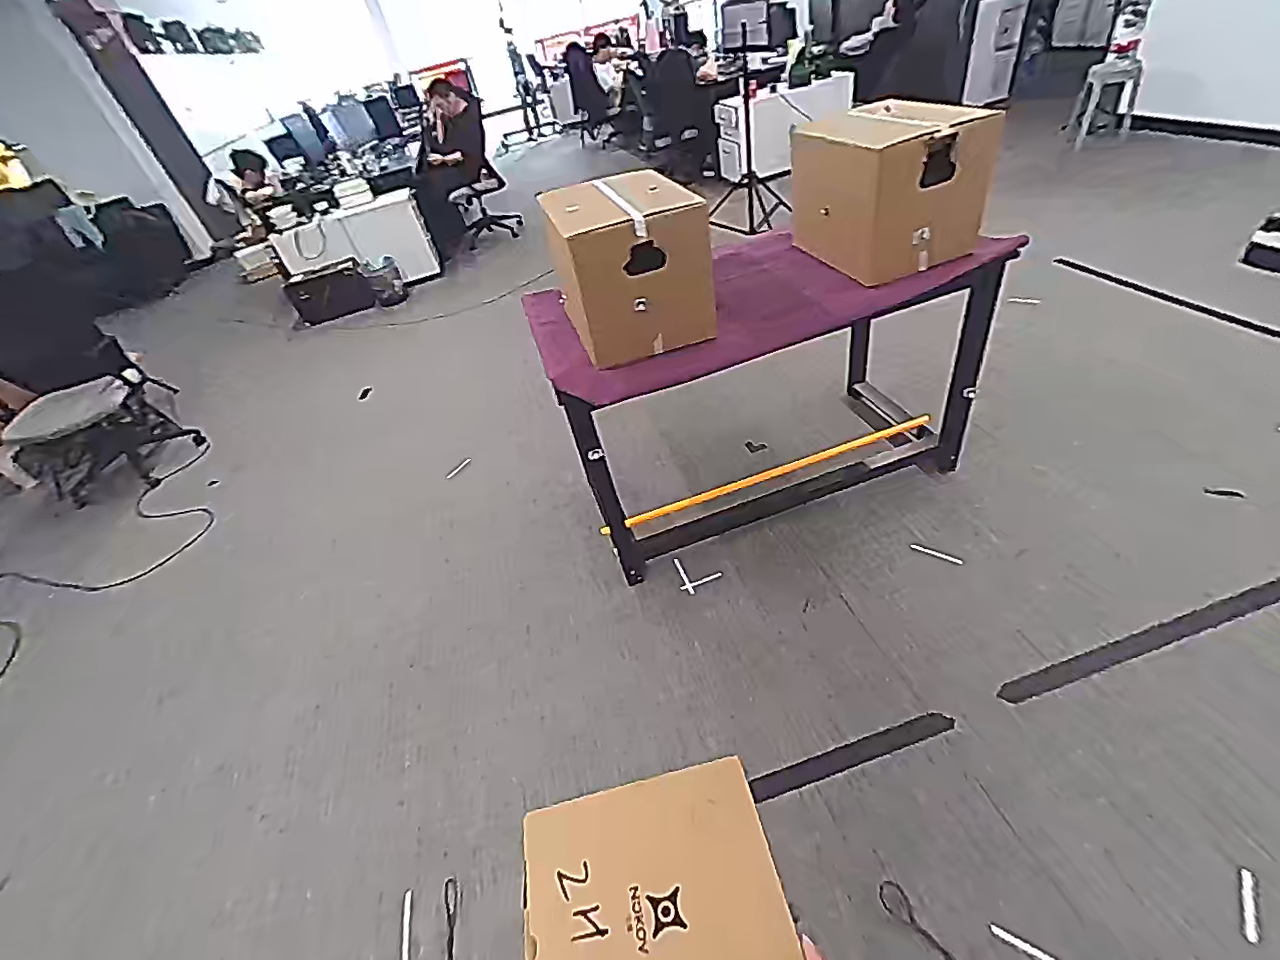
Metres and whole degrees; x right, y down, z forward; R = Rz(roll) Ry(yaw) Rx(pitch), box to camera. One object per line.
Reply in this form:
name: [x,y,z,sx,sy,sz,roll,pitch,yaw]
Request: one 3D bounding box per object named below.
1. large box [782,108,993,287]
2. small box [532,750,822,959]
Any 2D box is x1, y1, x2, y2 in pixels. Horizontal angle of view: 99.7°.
large box: [0.614,-0.750,1.419,0.320,0.320,0.408,-19,40,-7]
small box: [0.028,0.337,0.405,0.179,0.176,0.168,-14,40,-2]
